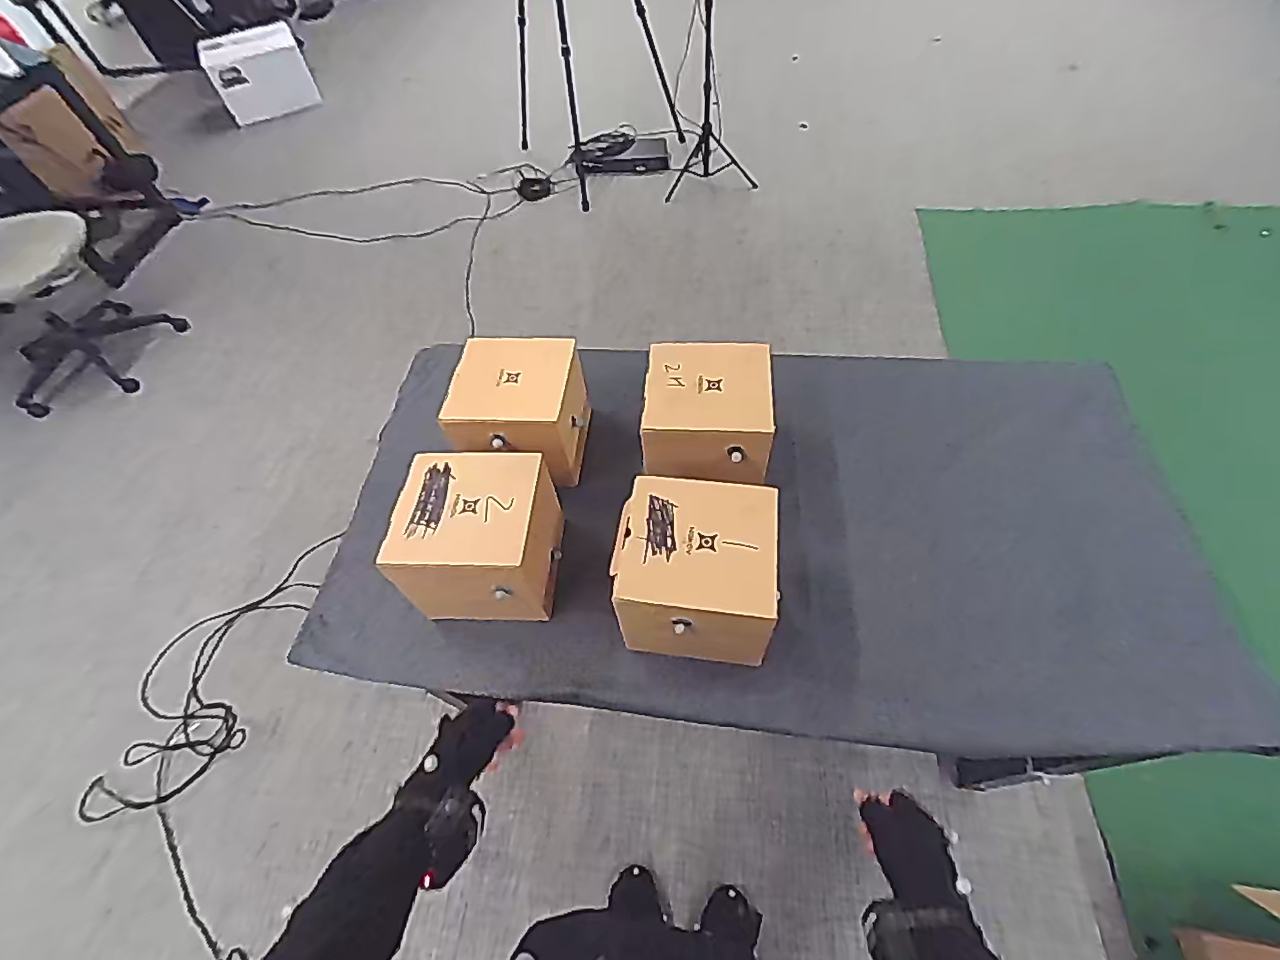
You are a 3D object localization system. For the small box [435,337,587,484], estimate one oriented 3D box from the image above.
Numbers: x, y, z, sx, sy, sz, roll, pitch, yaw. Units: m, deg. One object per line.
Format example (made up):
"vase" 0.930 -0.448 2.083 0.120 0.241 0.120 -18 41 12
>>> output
"small box" -0.187 -0.105 0.853 0.179 0.176 0.168 1 57 7

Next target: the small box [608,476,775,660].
"small box" 0.069 0.113 0.676 0.179 0.176 0.168 5 56 8
